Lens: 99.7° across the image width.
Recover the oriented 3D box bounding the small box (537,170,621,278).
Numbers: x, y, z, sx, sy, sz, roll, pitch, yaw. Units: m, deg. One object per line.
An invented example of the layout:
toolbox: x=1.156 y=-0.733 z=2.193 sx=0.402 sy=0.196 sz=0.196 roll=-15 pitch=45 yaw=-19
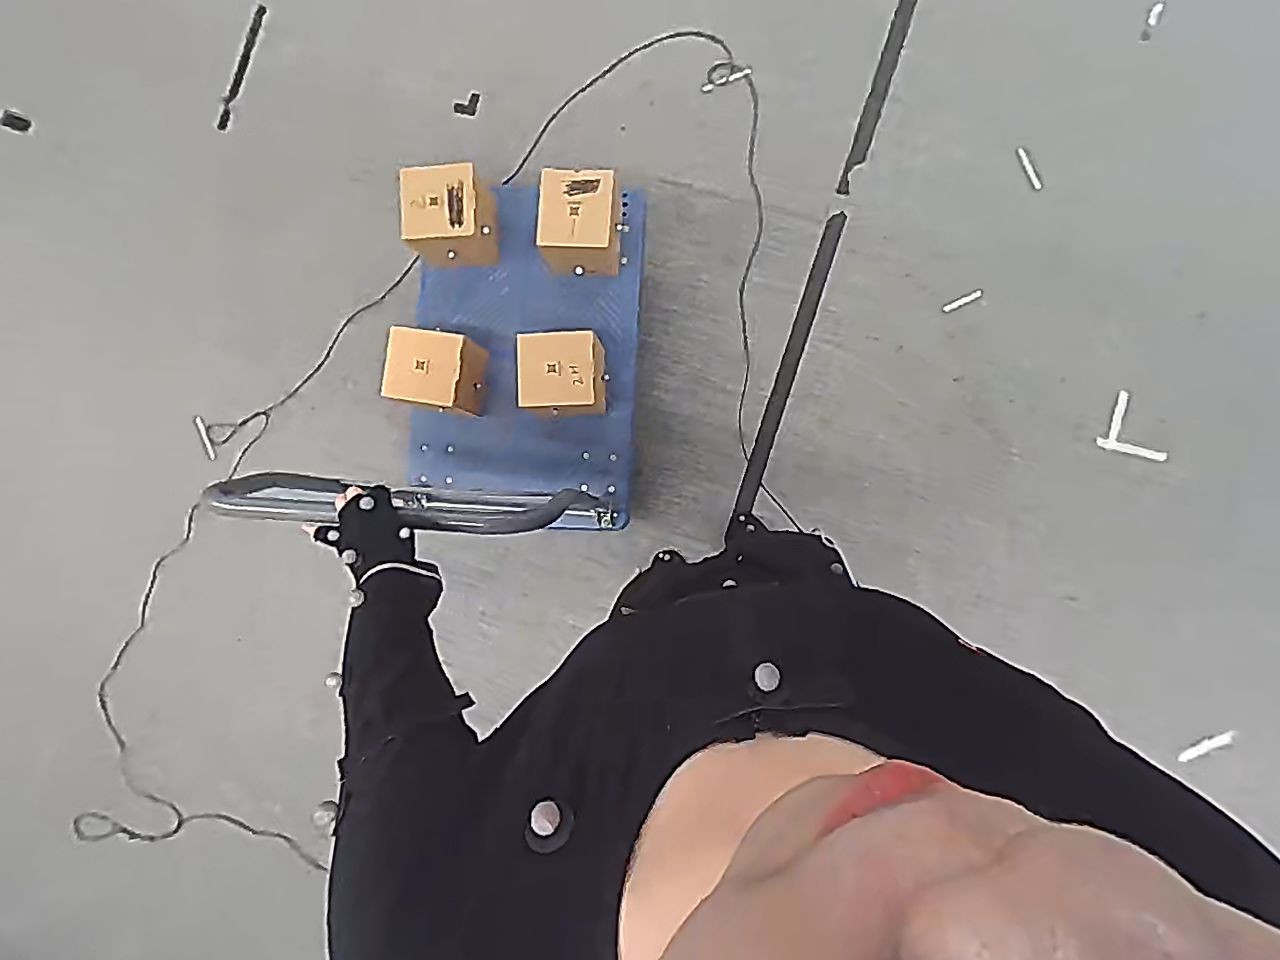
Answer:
small box: x=-0.138 y=-0.600 z=1.281 sx=0.168 sy=0.176 sz=0.179 roll=4 pitch=91 yaw=5

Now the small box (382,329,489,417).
small box: x=-0.487 y=-0.251 z=1.307 sx=0.179 sy=0.176 sz=0.168 roll=7 pitch=89 yaw=3

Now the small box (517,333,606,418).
small box: x=-0.180 y=-0.241 z=1.280 sx=0.179 sy=0.176 sz=0.168 roll=-2 pitch=89 yaw=5
